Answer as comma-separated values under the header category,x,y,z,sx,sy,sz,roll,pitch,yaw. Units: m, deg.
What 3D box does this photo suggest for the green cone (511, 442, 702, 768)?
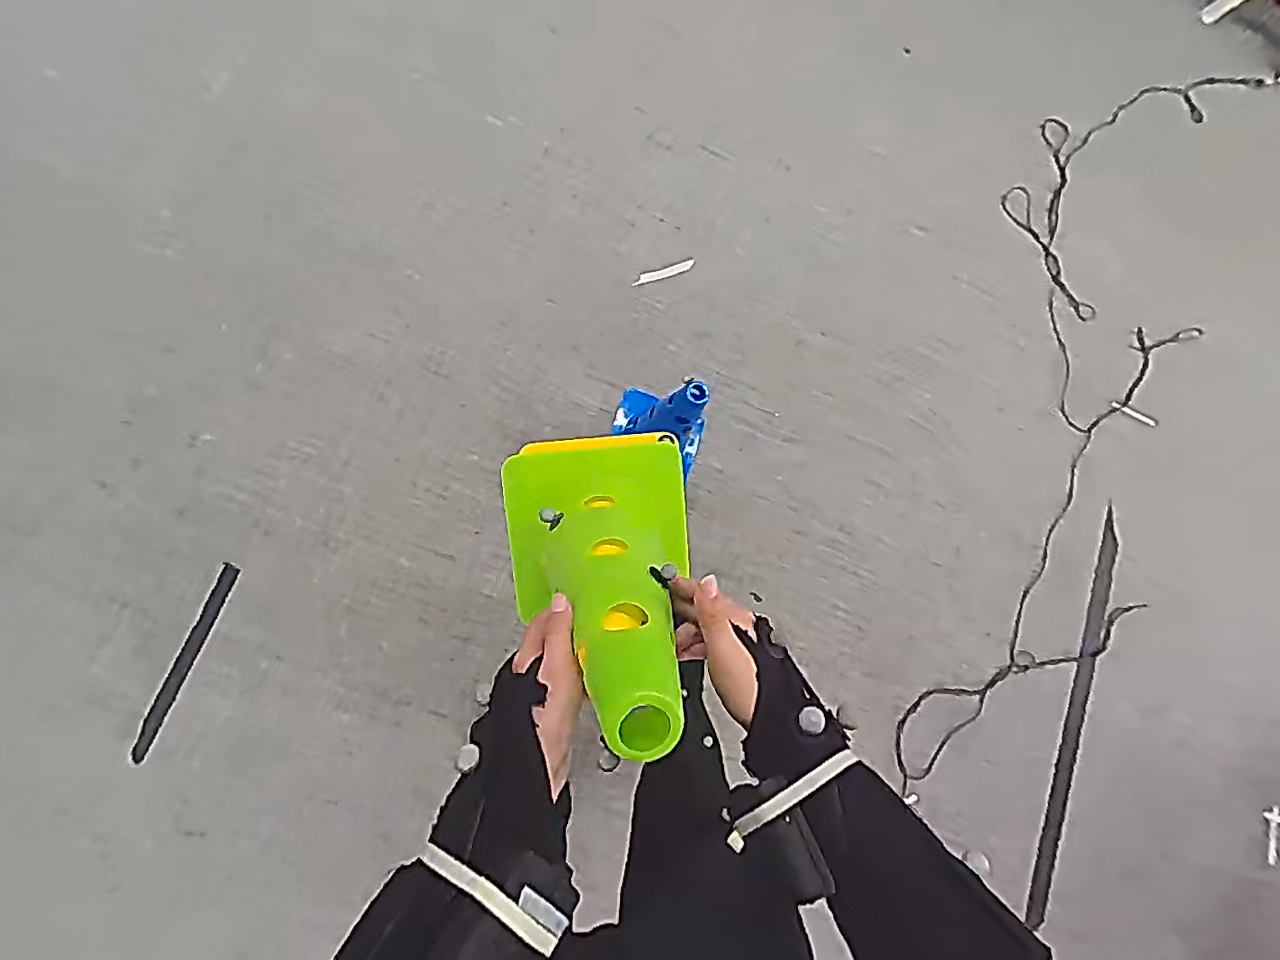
category,x,y,z,sx,sy,sz,roll,pitch,yaw
green cone,-0.014,0.088,0.433,0.202,0.368,0.200,-6,99,-6
